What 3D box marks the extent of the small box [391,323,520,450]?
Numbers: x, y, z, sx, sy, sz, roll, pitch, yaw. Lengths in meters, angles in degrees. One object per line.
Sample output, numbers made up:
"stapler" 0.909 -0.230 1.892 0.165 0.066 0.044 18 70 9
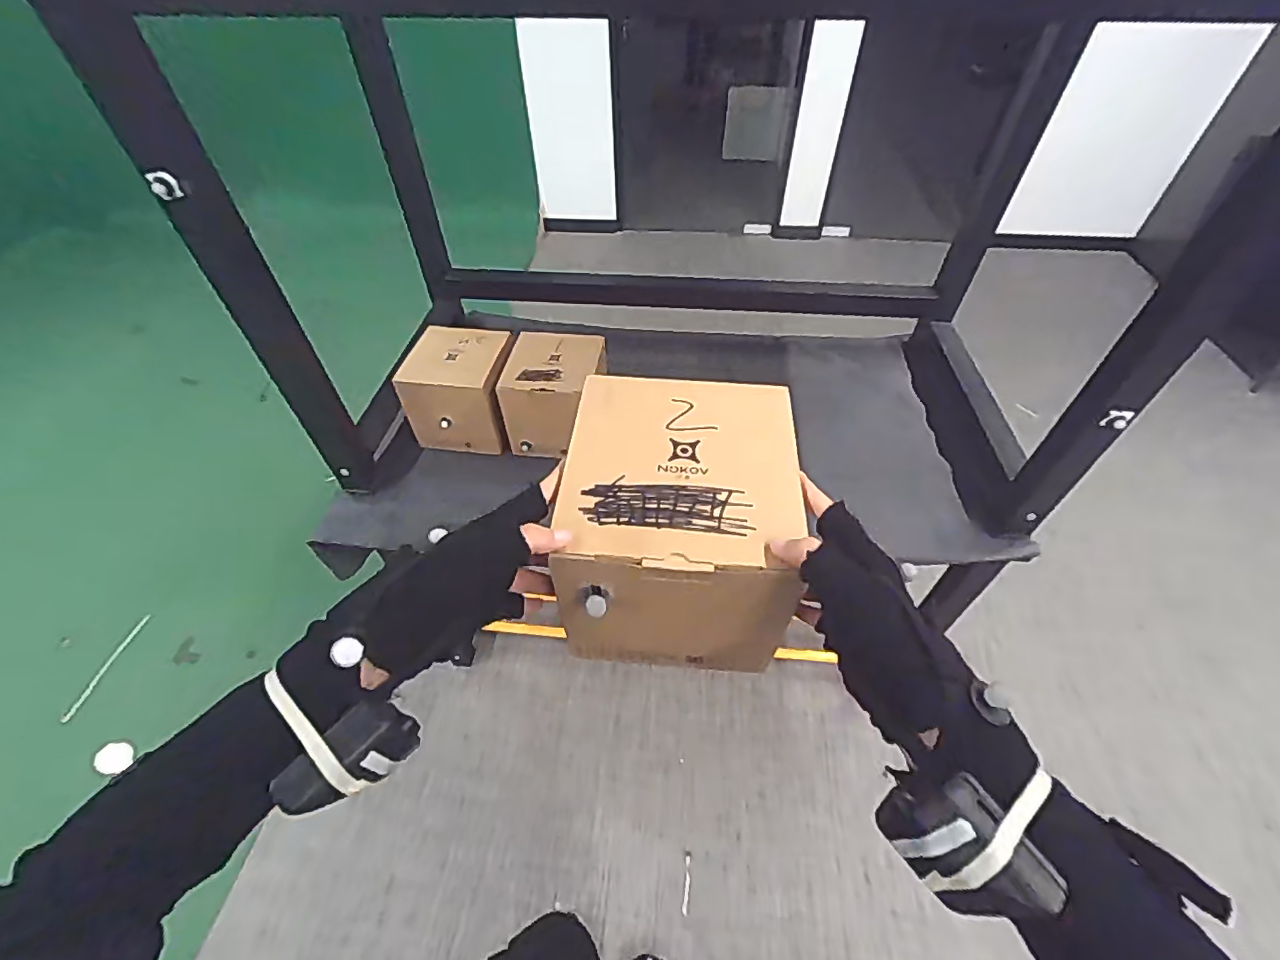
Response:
"small box" -0.339 -0.177 1.040 0.168 0.176 0.179 7 49 5
